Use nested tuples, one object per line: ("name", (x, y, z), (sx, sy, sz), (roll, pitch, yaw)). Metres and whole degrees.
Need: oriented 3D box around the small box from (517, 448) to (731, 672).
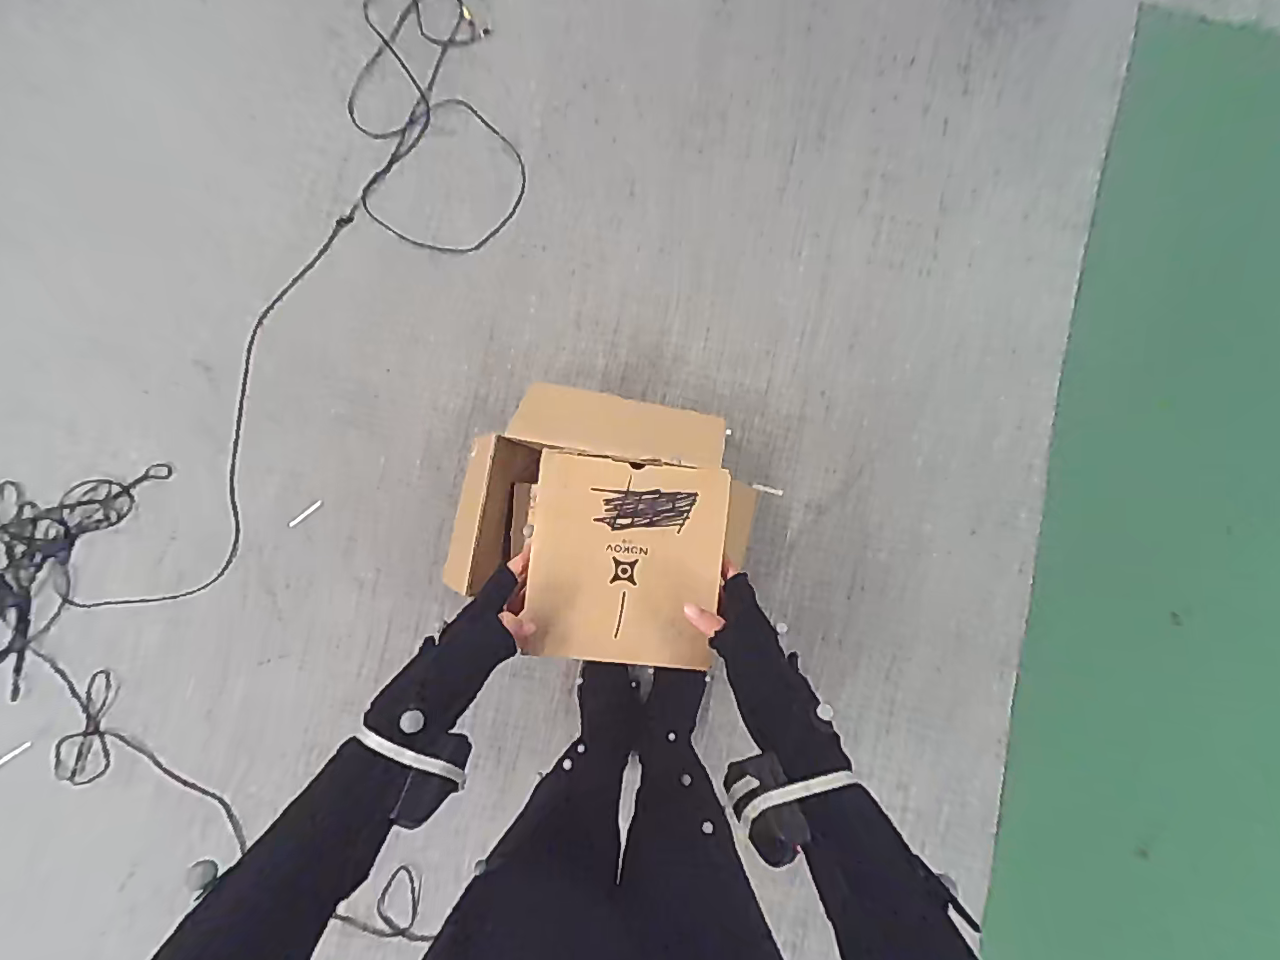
("small box", (-0.018, 0.069, 0.536), (0.168, 0.176, 0.179), (7, 90, -4))
